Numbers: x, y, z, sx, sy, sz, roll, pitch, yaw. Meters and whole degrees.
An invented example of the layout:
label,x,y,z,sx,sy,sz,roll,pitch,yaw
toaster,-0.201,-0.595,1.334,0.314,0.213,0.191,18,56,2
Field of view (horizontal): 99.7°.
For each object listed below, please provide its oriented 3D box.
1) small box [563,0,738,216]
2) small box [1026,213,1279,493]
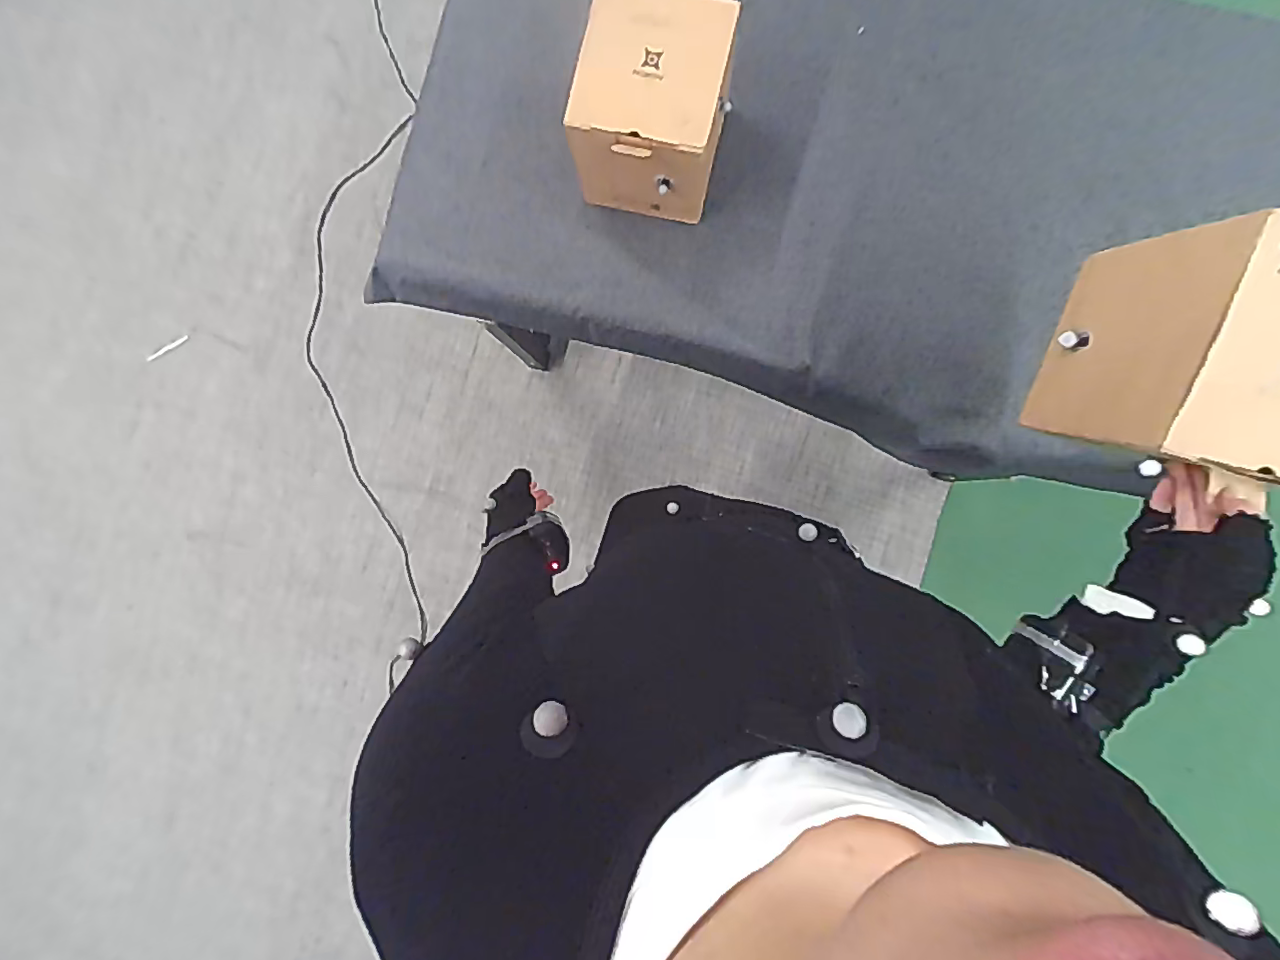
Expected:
label,x,y,z,sx,sy,sz,roll,pitch,yaw
small box,0.015,-0.464,0.678,0.168,0.176,0.179,13,88,2
small box,0.487,-0.100,0.469,0.168,0.176,0.179,15,103,-2
